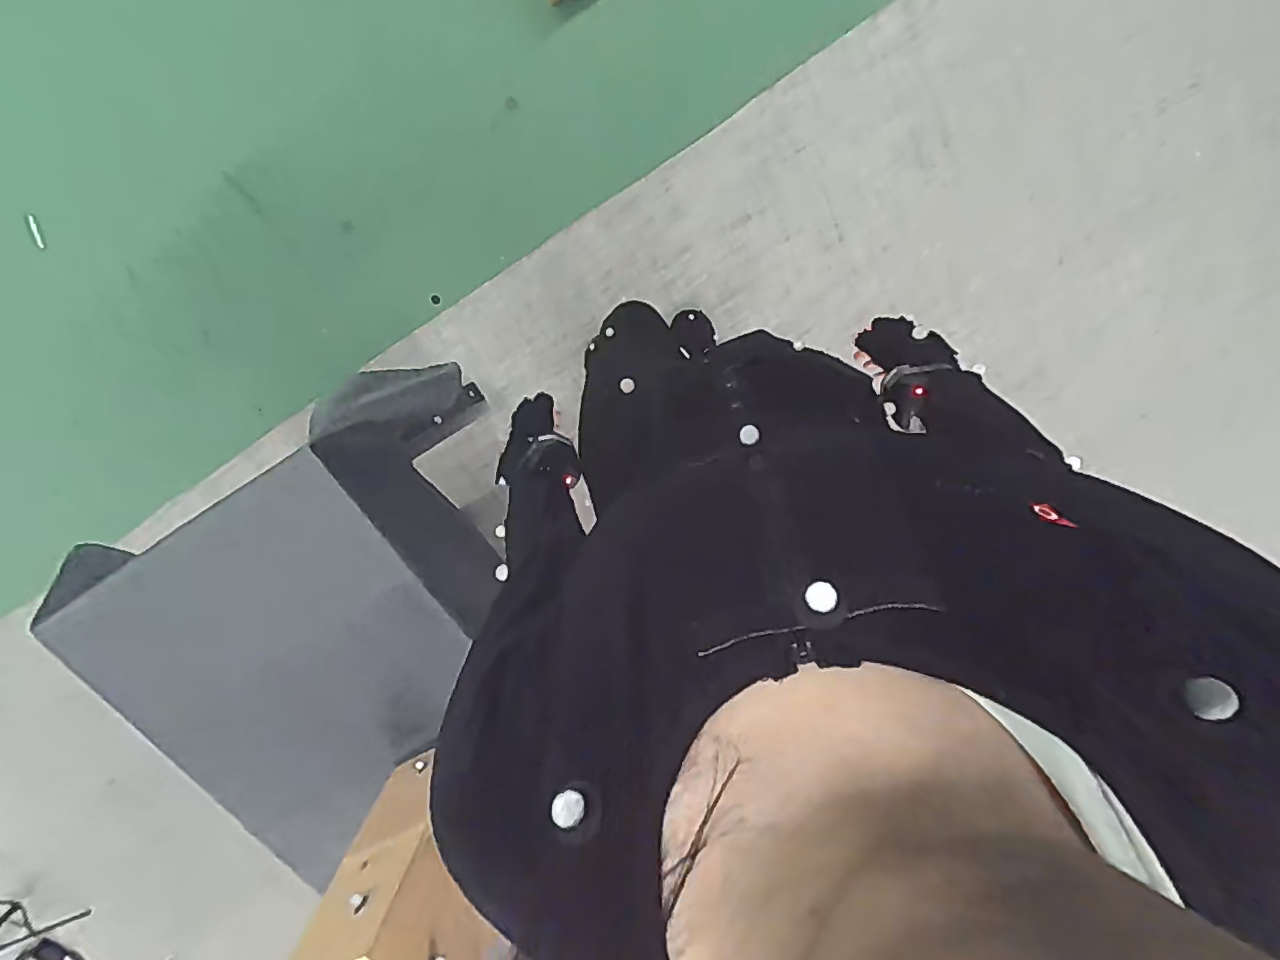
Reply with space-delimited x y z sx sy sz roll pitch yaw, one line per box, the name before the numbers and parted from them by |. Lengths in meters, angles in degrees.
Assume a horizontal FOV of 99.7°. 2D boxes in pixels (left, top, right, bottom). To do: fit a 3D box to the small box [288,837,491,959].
small box | -0.324 0.604 0.699 0.168 0.176 0.179 -30 104 11
